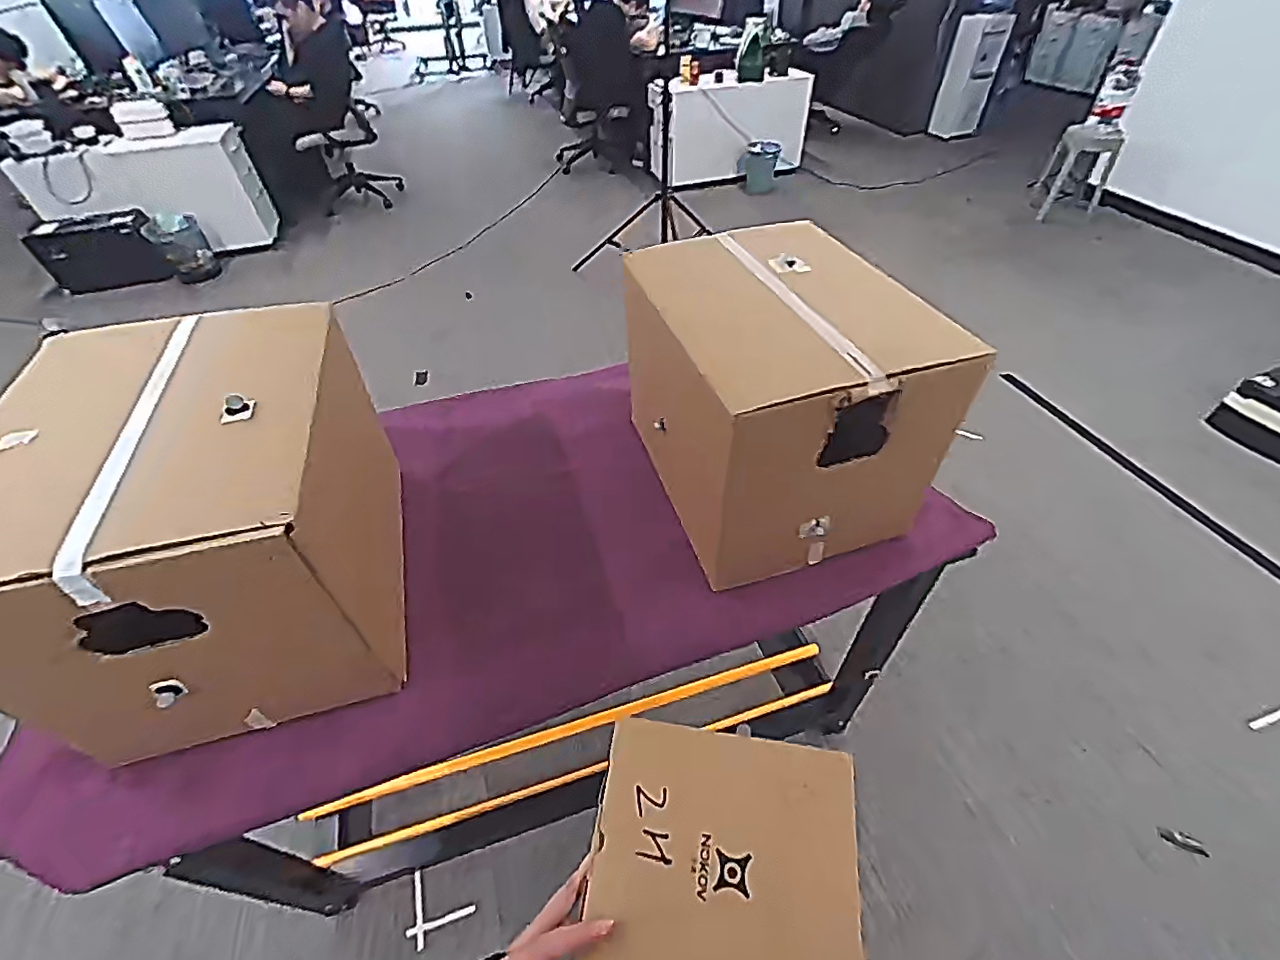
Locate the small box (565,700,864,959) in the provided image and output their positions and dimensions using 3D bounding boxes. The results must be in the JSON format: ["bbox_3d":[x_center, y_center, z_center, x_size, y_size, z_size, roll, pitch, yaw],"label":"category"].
[{"bbox_3d":[0.062,0.288,0.417,0.179,0.176,0.168,4,54,13],"label":"small box"}]

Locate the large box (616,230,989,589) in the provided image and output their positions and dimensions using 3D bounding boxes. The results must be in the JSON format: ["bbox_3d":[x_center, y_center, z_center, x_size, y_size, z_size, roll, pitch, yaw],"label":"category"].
[{"bbox_3d":[0.179,-0.119,0.788,0.320,0.320,0.408,-14,45,-12],"label":"large box"}]
